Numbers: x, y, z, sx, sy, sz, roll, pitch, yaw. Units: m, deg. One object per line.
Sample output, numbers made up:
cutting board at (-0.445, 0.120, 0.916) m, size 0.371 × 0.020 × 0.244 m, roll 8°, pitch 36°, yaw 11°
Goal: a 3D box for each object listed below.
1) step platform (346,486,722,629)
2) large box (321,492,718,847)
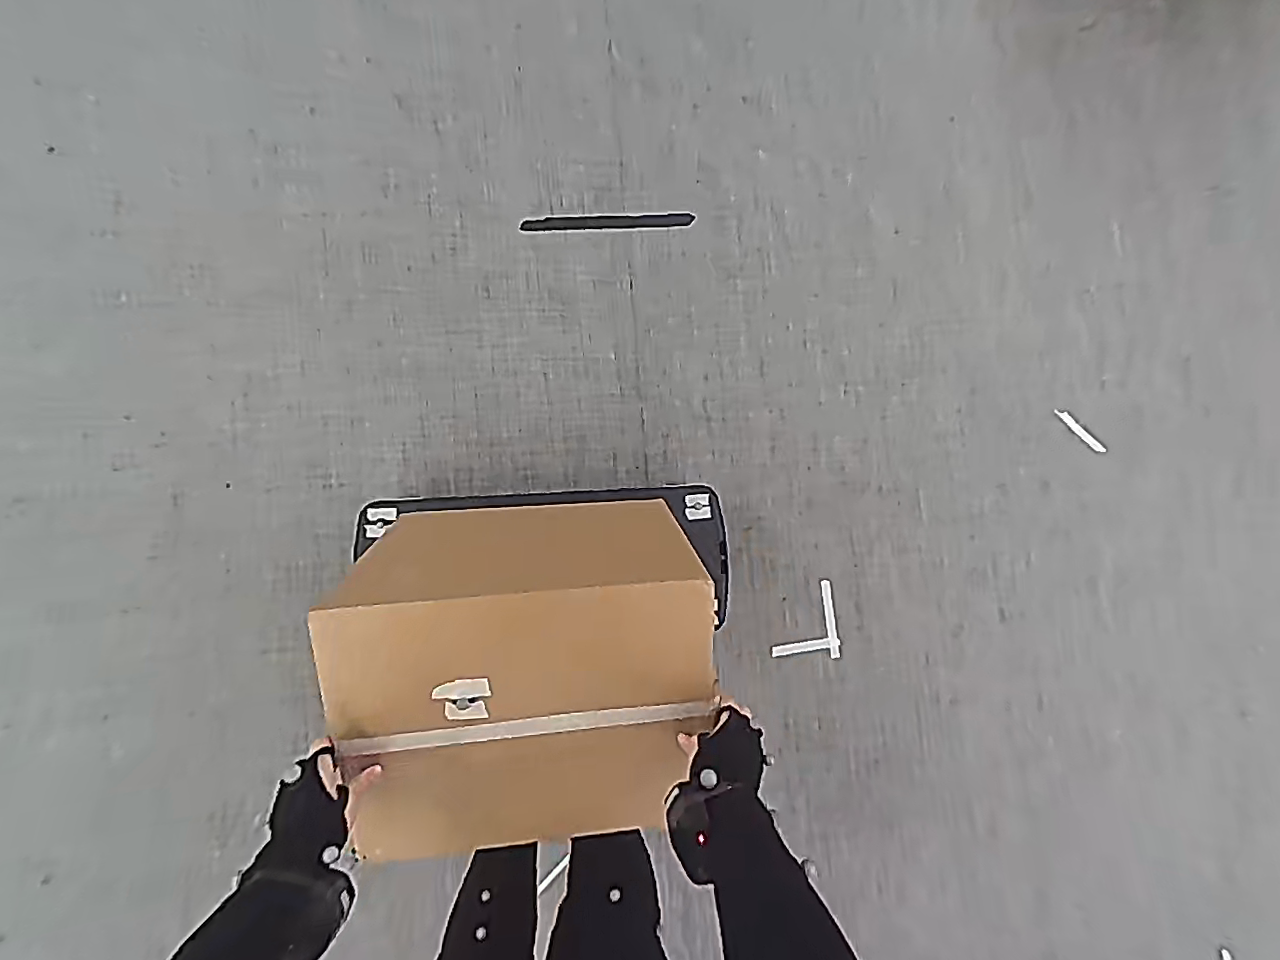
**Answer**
step platform at (-0.185, 0.167, 1.046) m, size 0.684 × 0.204 × 0.286 m, roll 2°, pitch 86°, yaw -5°
large box at (-0.126, 0.214, 0.726) m, size 0.408 × 0.320 × 0.320 m, roll -3°, pitch 103°, yaw -5°
